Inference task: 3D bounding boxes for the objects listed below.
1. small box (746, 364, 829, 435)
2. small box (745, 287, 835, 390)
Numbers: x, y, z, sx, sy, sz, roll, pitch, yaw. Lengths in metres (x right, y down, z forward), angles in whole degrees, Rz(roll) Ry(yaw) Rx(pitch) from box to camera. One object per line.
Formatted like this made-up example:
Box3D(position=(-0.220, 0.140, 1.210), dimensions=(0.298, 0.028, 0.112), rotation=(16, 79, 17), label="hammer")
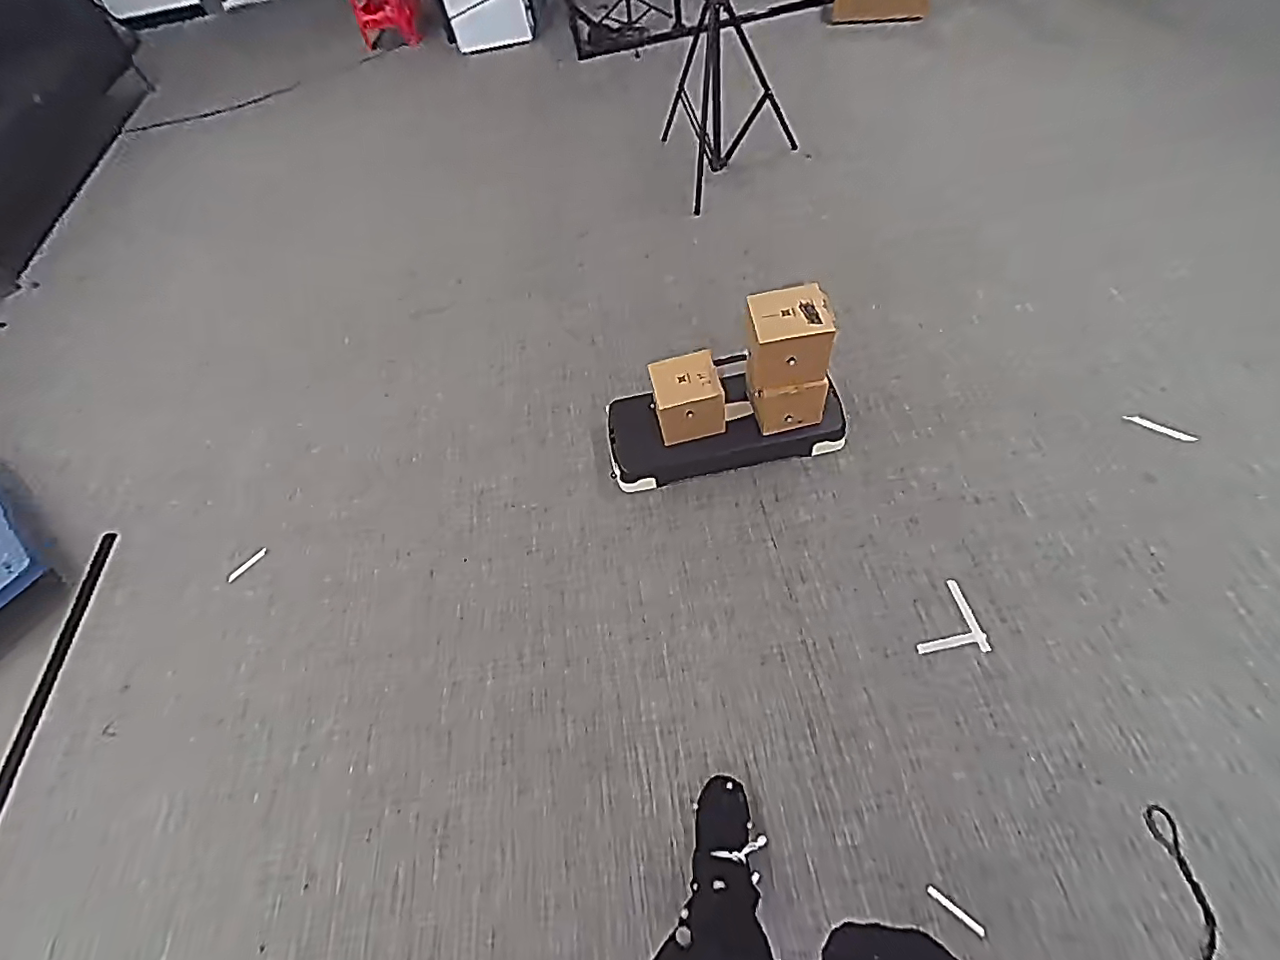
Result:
Box3D(position=(0.391, -0.250, 1.470), dimensions=(0.168, 0.176, 0.179), rotation=(-13, 59, 1), label="small box")
Box3D(position=(0.362, -0.345, 1.339), dimensions=(0.179, 0.176, 0.168), rotation=(-9, 58, 5), label="small box")
